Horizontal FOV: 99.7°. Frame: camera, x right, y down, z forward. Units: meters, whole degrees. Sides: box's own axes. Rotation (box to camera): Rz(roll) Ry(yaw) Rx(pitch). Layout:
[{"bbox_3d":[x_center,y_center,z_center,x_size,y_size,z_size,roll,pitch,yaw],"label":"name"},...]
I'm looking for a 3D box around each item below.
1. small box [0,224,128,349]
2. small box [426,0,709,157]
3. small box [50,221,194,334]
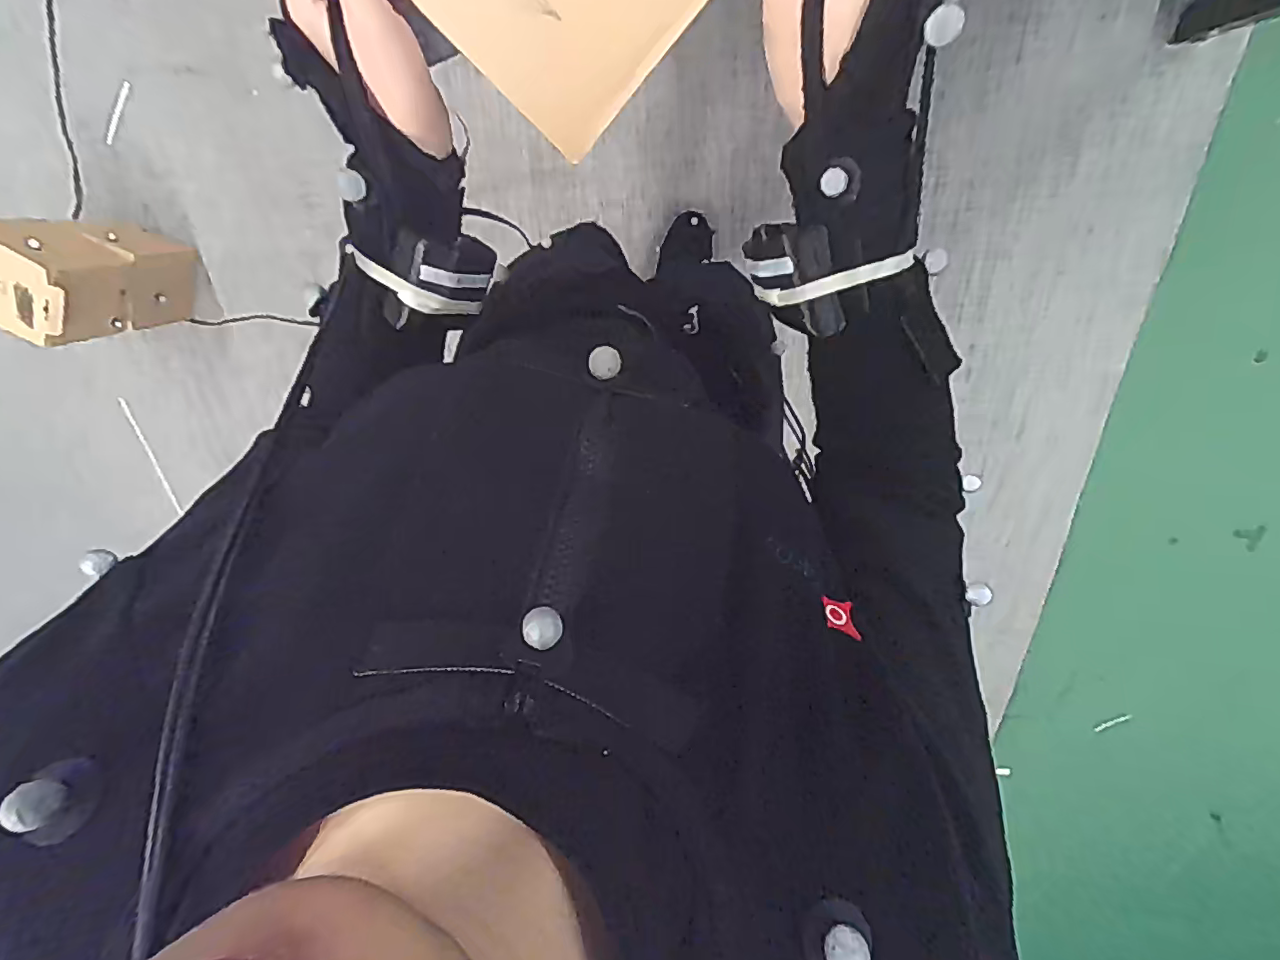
[{"bbox_3d":[-1.166,-0.385,1.058,0.179,0.176,0.168,29,113,-9],"label":"small box"},{"bbox_3d":[-0.025,-0.318,0.275,0.168,0.176,0.179,36,128,-25],"label":"small box"},{"bbox_3d":[-1.145,-0.455,1.206,0.168,0.176,0.179,24,115,-7],"label":"small box"}]
